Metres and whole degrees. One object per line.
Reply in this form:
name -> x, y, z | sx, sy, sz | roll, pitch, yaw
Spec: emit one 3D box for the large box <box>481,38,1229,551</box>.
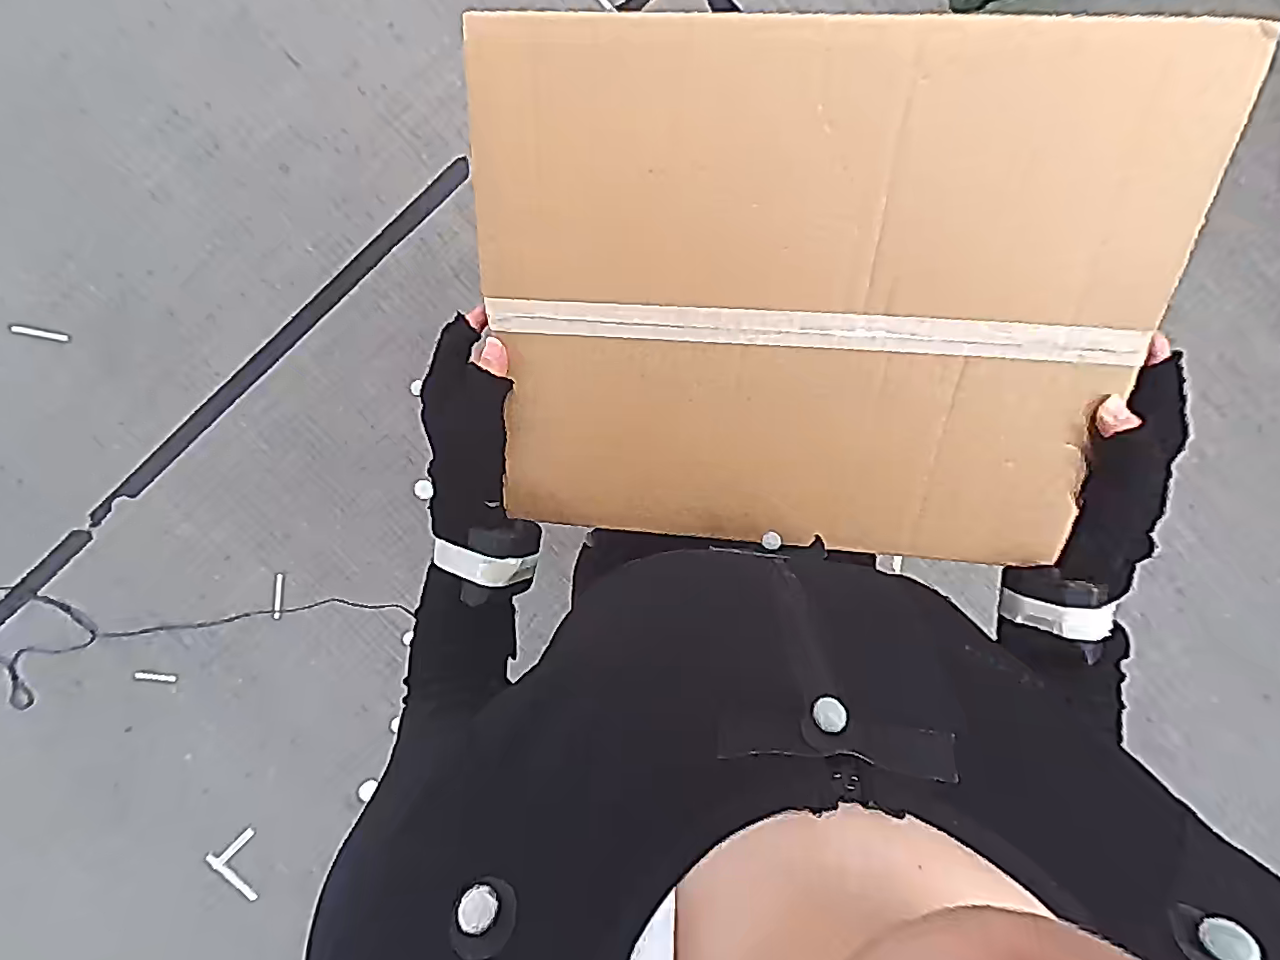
large box -> 0.115, -0.159, 0.489 | 0.408, 0.320, 0.320 | 5, 117, 5
